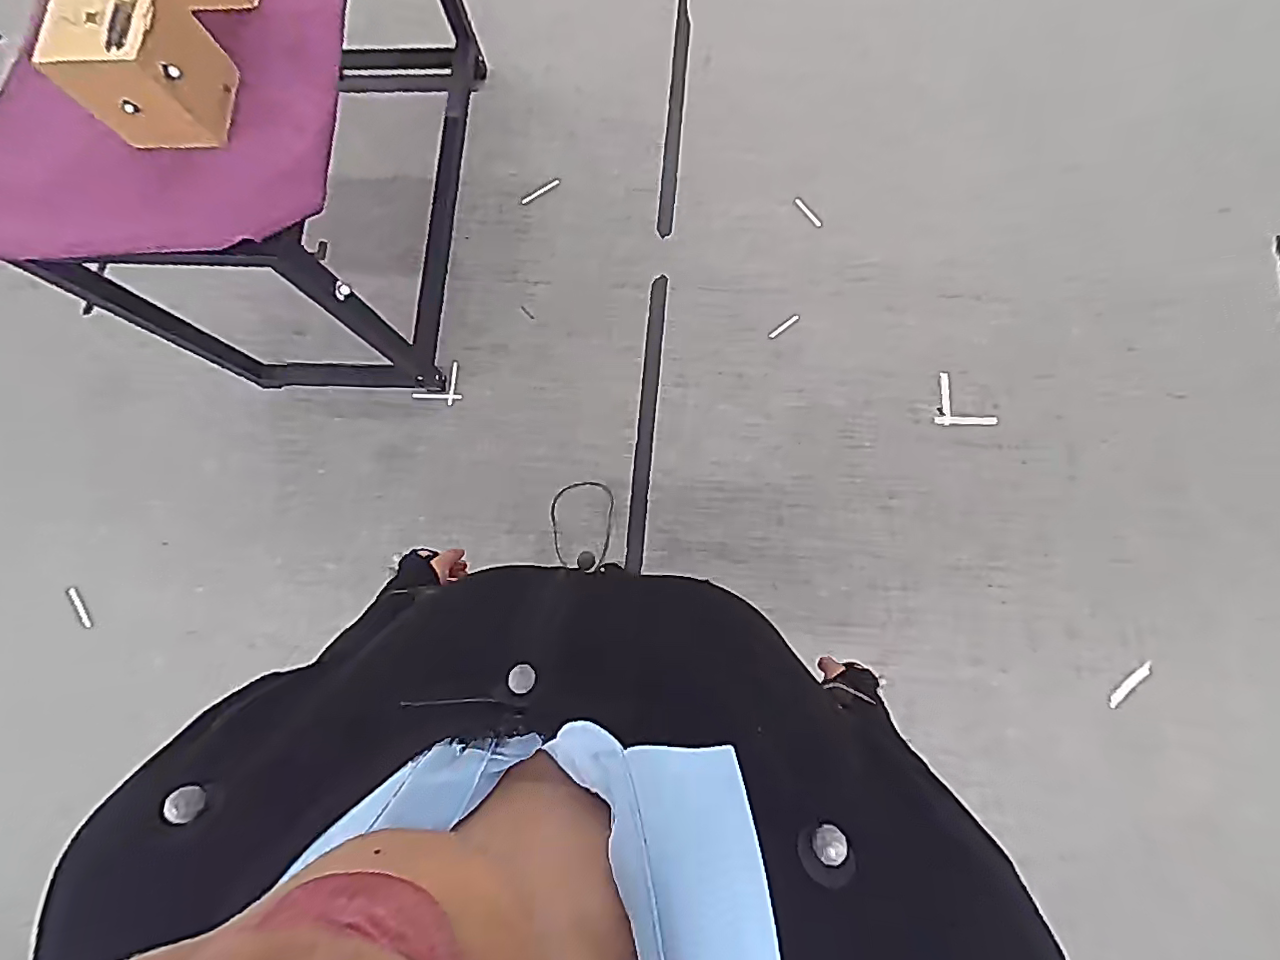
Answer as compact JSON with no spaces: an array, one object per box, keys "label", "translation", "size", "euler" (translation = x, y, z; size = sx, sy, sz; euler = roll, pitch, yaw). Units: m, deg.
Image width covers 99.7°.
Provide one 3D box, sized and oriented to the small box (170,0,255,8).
[{"label":"small box","translation":[-0.814,-0.998,0.972],"size":[0.179,0.176,0.168],"euler":[3,79,3]}]
